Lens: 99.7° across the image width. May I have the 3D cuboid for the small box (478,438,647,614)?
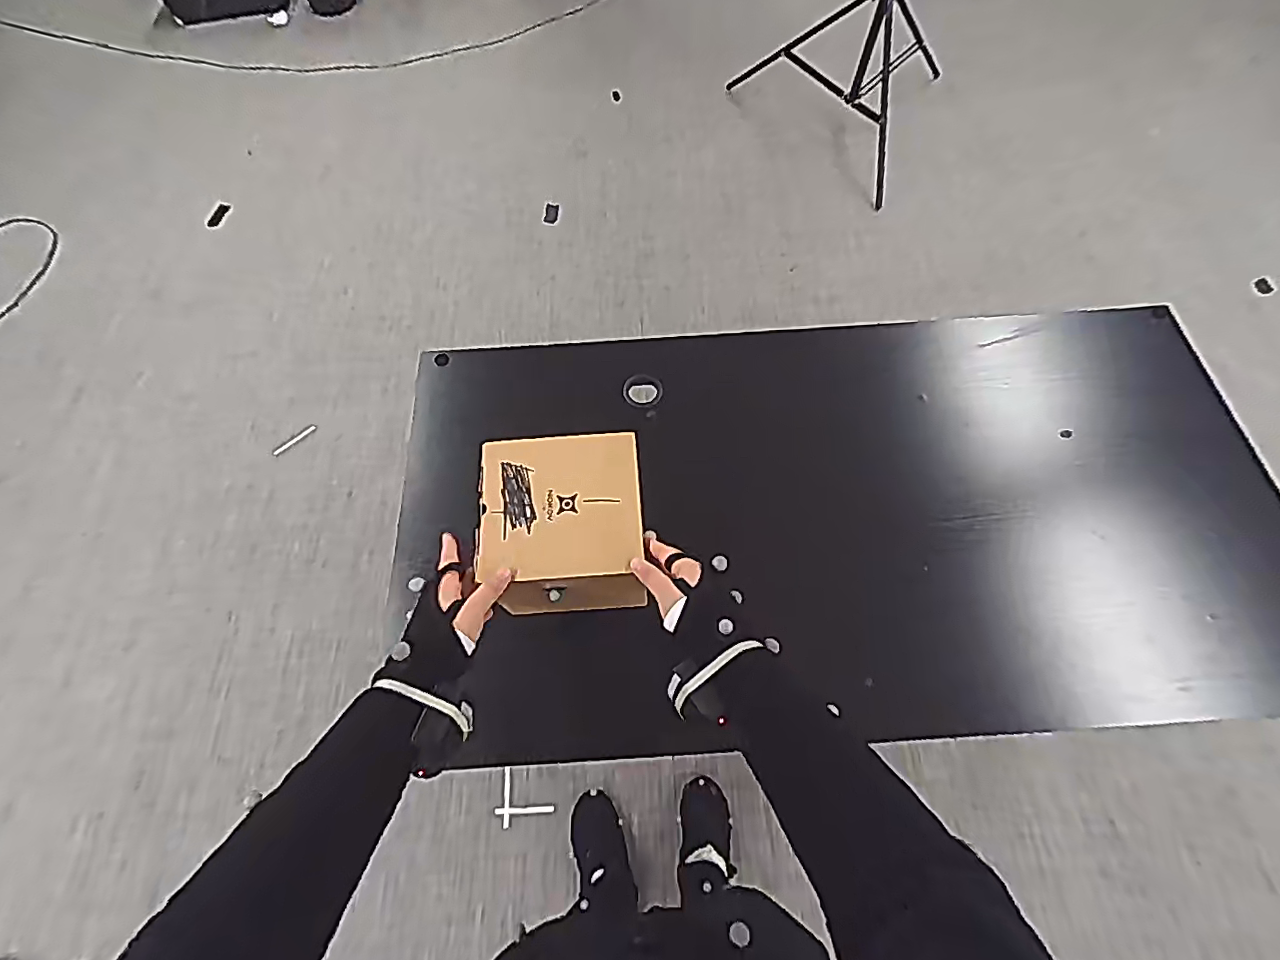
[{"bbox_3d":[-0.084,0.064,0.665,0.179,0.176,0.168,-4,65,-1],"label":"small box"}]
